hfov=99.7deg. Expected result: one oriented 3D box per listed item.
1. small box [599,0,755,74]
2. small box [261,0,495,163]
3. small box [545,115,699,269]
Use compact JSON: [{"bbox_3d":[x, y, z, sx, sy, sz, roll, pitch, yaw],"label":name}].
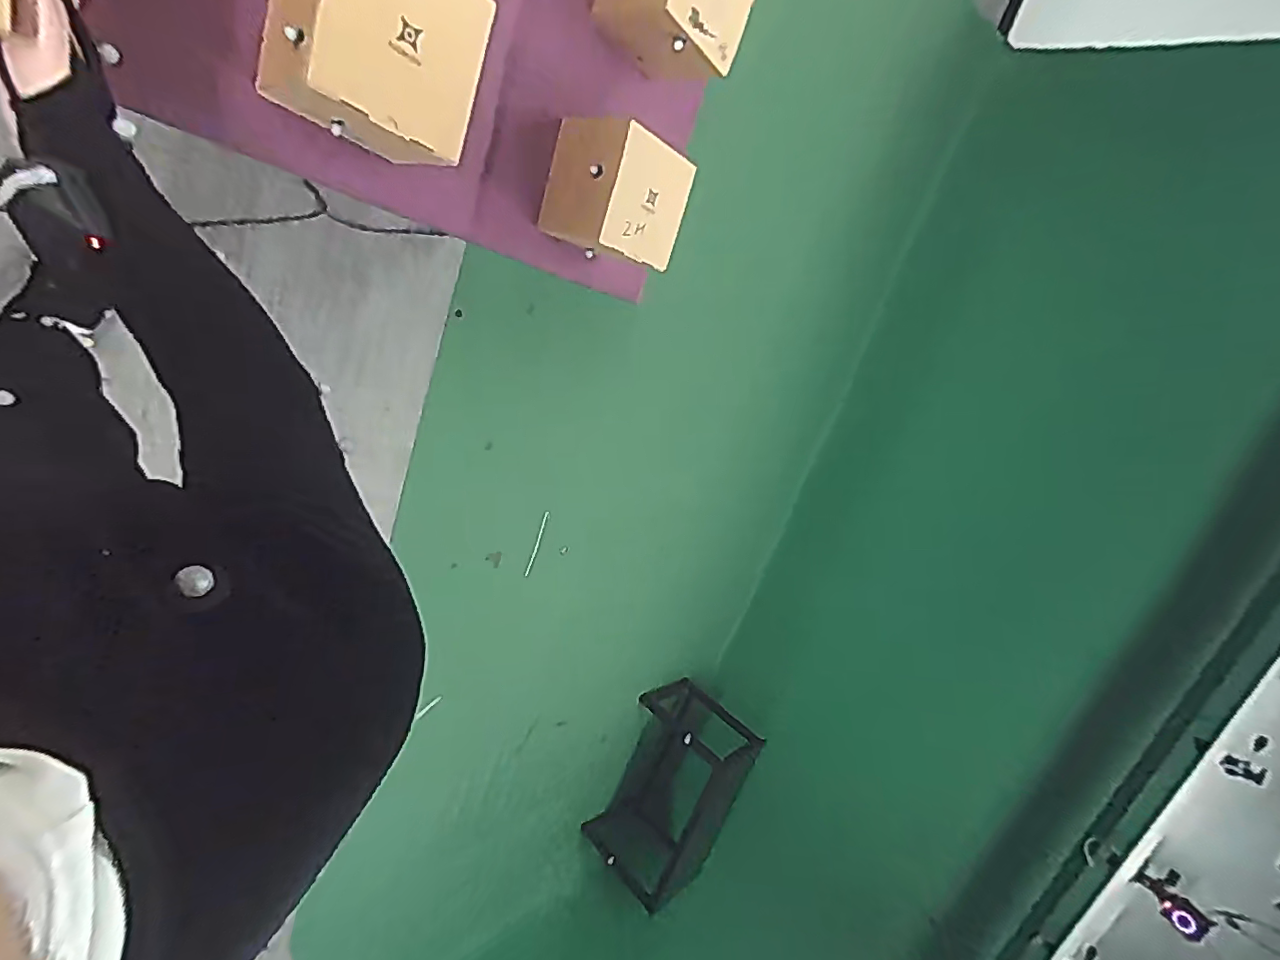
[{"bbox_3d":[0.062,-0.760,0.823,0.168,0.176,0.179,3,112,-50],"label":"small box"},{"bbox_3d":[-0.294,-0.484,0.599,0.168,0.176,0.179,2,112,-51],"label":"small box"},{"bbox_3d":[-0.035,-0.477,0.901,0.168,0.176,0.179,0,115,-48],"label":"small box"}]
